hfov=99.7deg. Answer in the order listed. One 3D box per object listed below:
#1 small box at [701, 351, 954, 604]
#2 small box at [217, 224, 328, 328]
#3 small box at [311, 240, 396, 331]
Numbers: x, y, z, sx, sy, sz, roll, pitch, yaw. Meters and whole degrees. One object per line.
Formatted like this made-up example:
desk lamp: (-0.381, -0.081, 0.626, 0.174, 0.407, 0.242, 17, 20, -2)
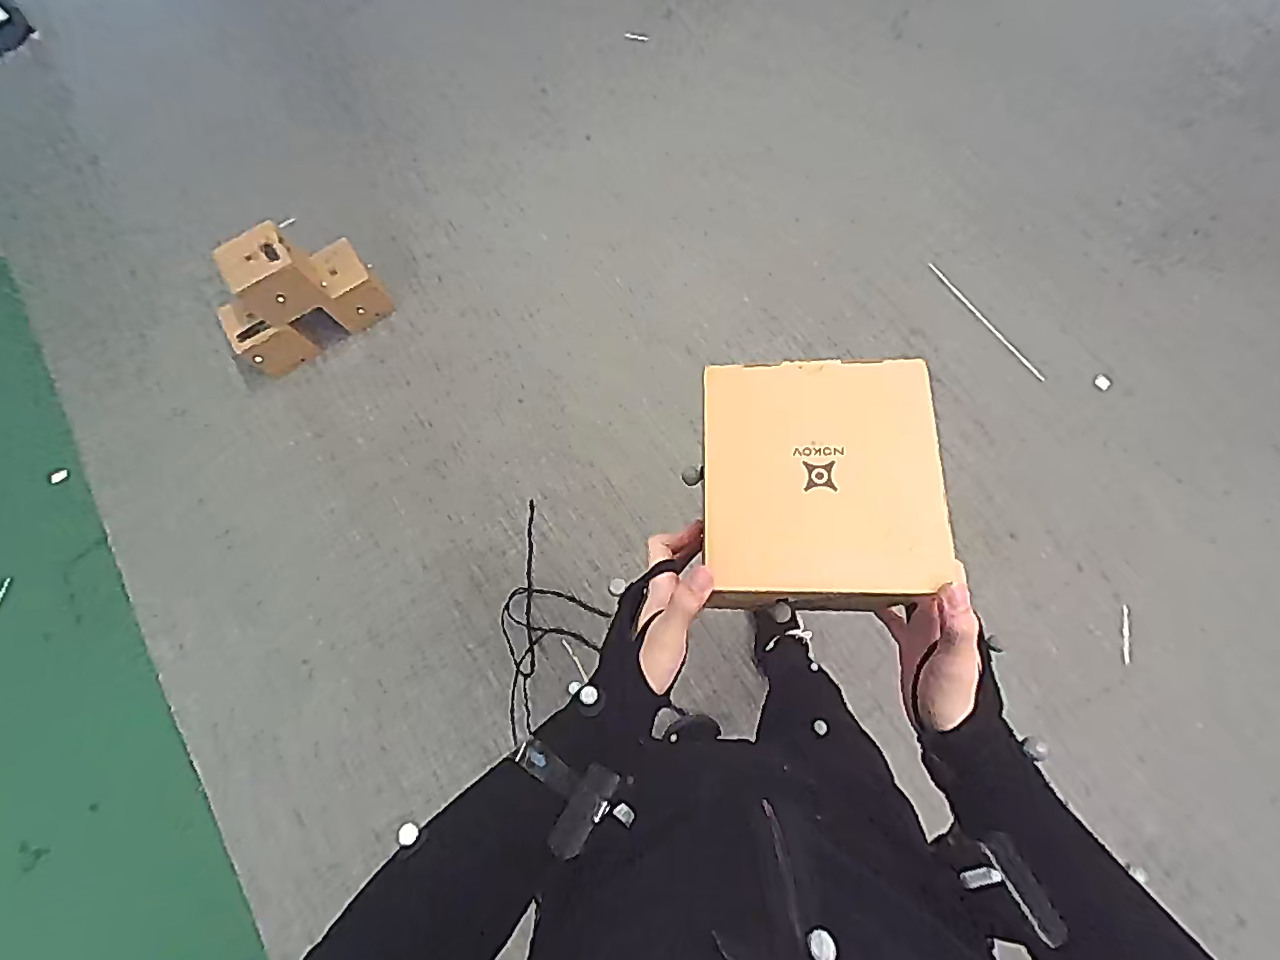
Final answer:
small box: (0.138, 0.012, 0.465, 0.168, 0.176, 0.179, -1, 71, 7)
small box: (-1.007, -0.561, 1.502, 0.179, 0.176, 0.168, -31, 75, -4)
small box: (-0.892, -0.589, 1.671, 0.168, 0.176, 0.179, -33, 75, -5)
